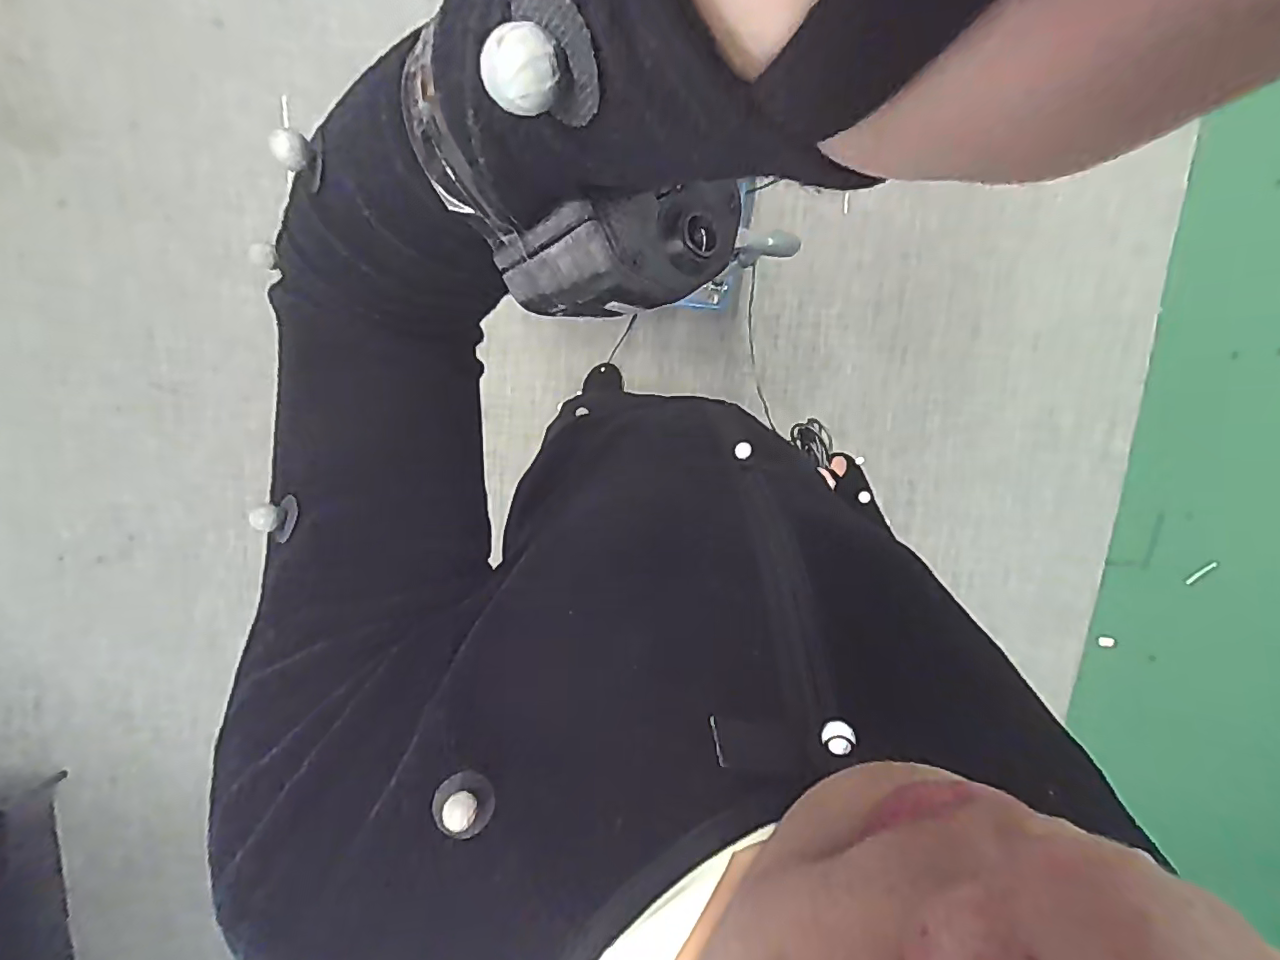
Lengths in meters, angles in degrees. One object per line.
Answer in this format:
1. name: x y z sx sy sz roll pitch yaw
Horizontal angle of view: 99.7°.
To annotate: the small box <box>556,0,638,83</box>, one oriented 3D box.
1. small box: -0.089 -1.005 1.176 0.168 0.176 0.179 3 100 -4
